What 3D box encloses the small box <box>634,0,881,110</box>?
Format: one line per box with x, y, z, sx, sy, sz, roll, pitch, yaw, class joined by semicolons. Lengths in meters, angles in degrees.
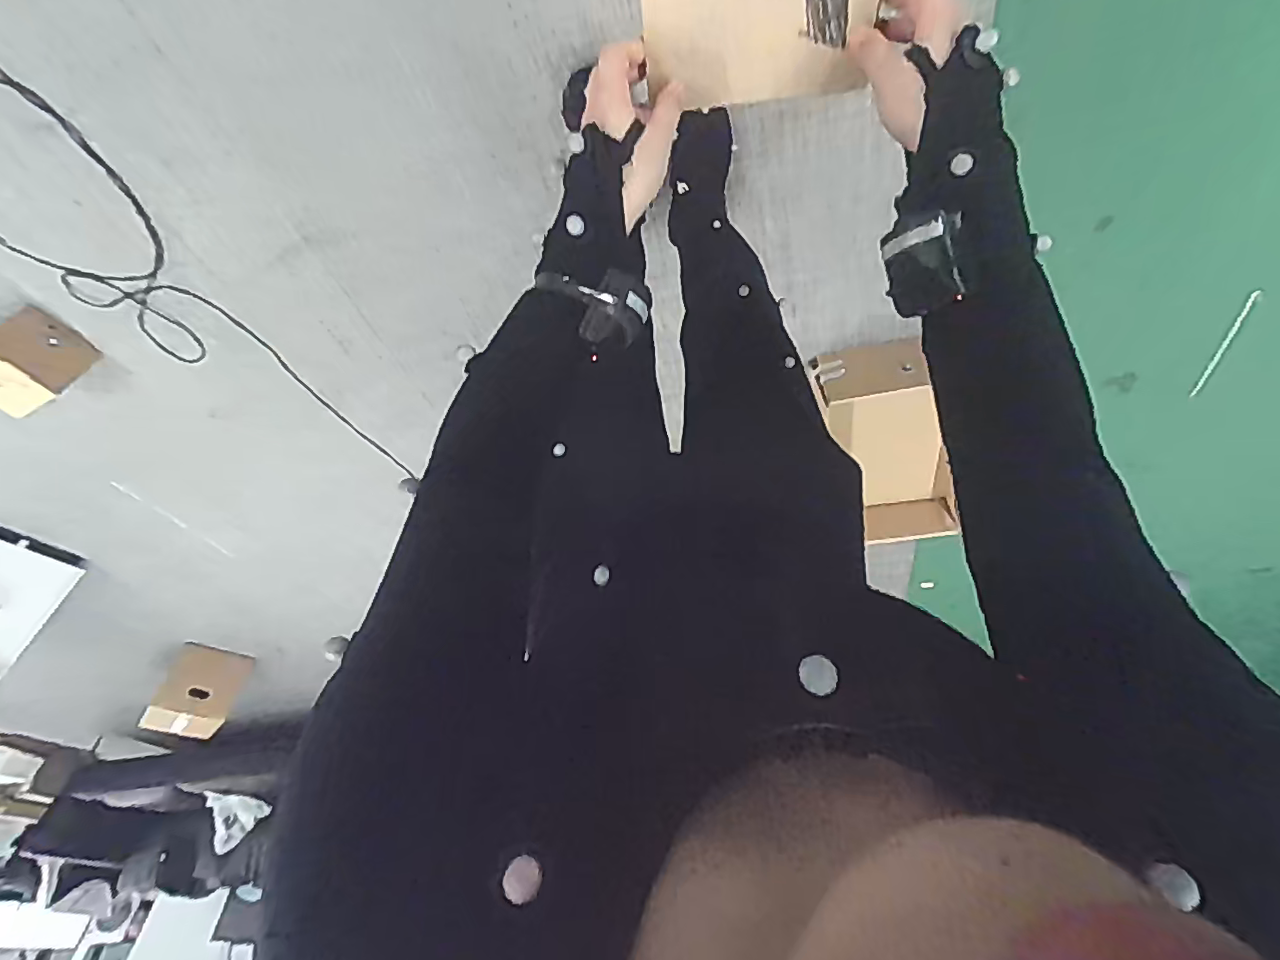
0.083;-0.416;0.418;0.179;0.176;0.168;-2;140;6;small box

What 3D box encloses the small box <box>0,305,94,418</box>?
-1.480;-0.282;1.287;0.179;0.176;0.168;-17;136;19;small box
